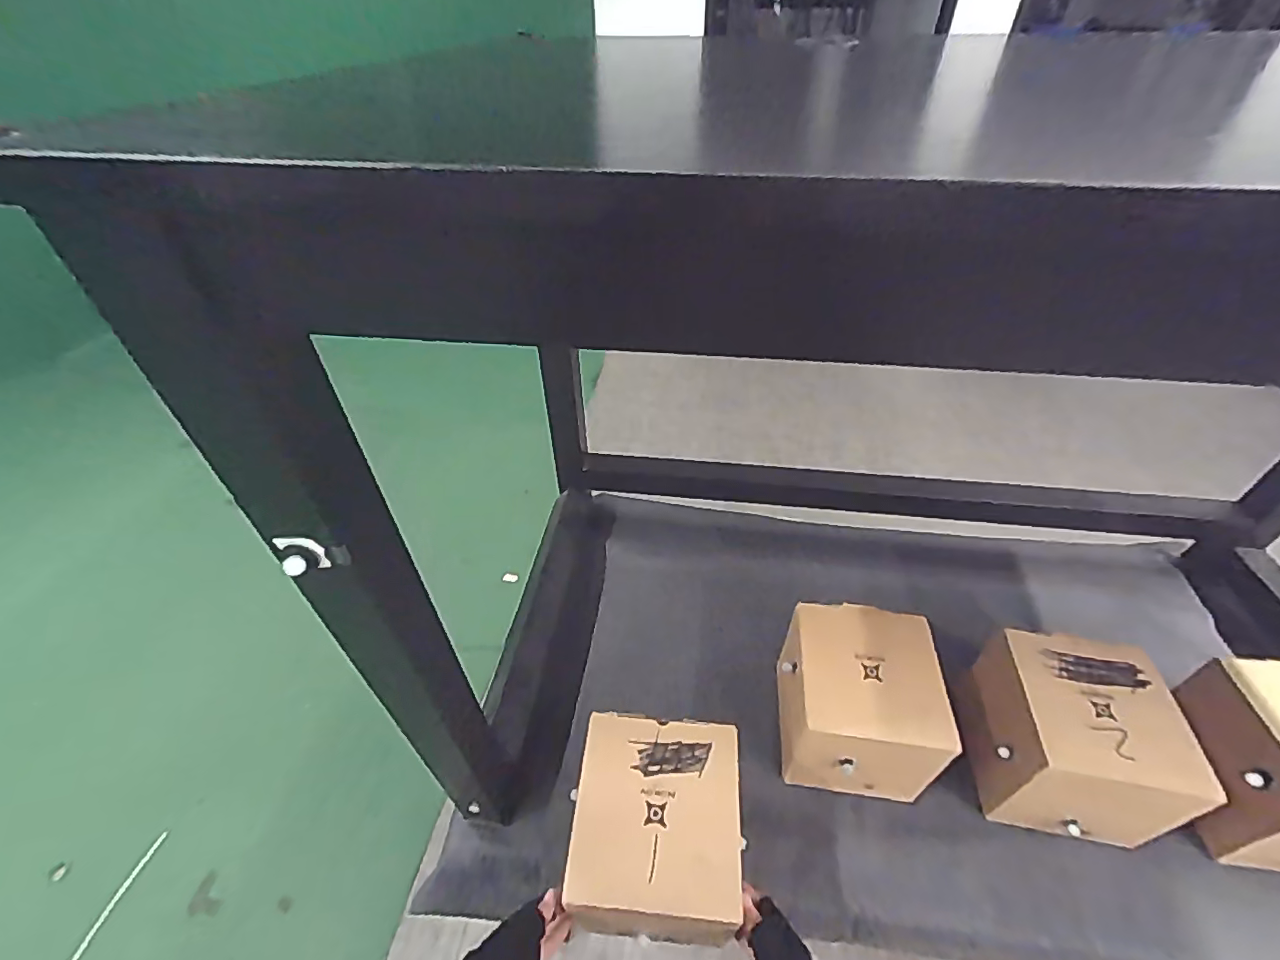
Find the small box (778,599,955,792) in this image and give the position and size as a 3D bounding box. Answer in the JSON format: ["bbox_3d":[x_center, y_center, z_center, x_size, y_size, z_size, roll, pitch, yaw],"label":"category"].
[{"bbox_3d":[0.280,0.284,0.713,0.168,0.176,0.179,5,42,7],"label":"small box"}]

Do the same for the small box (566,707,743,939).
[{"bbox_3d":[0.020,0.382,0.606,0.168,0.176,0.179,3,44,4],"label":"small box"}]

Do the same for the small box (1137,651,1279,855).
[{"bbox_3d":[0.766,0.332,0.643,0.168,0.176,0.179,5,41,6],"label":"small box"}]
